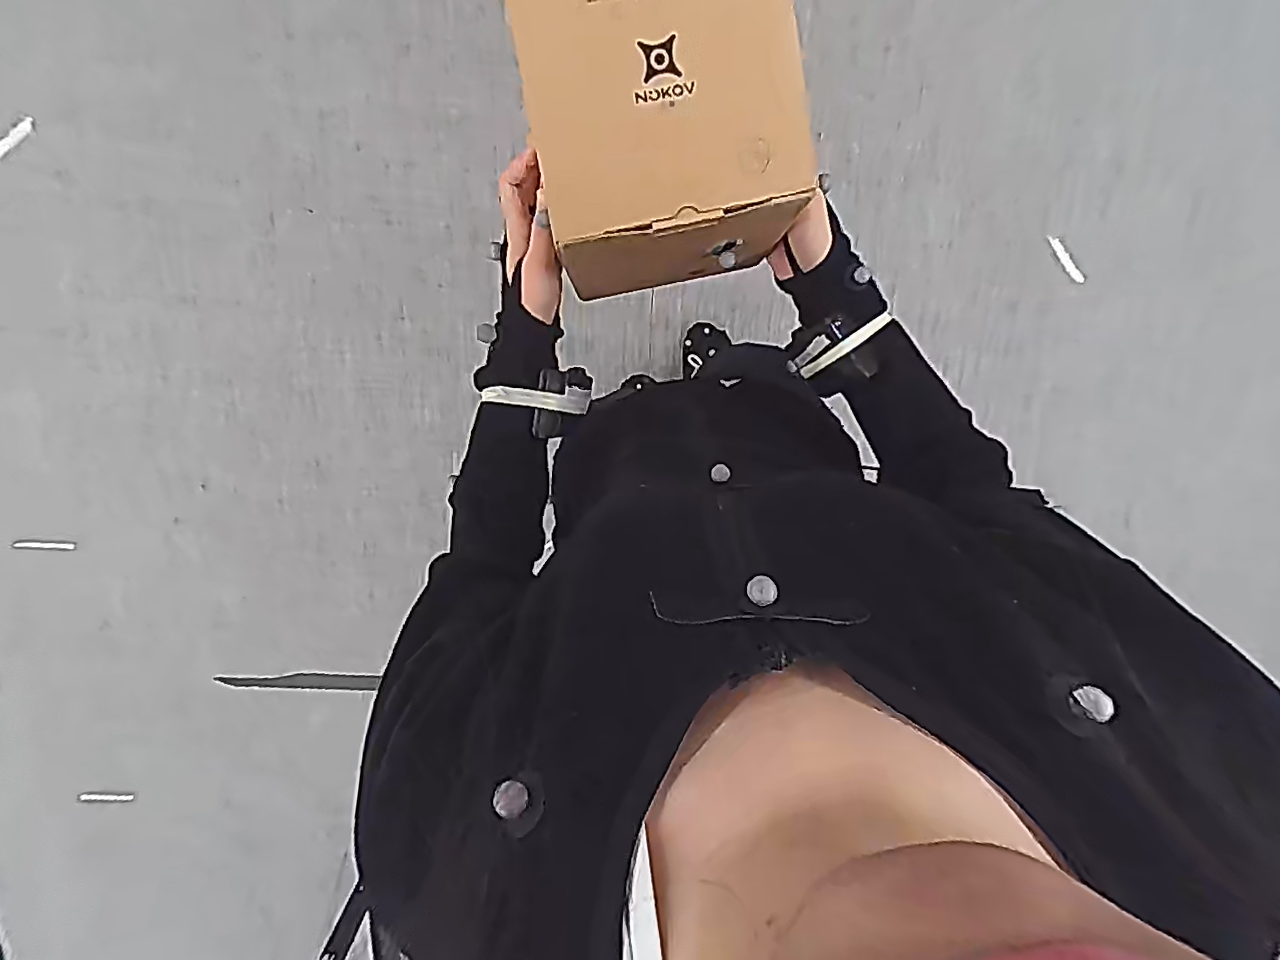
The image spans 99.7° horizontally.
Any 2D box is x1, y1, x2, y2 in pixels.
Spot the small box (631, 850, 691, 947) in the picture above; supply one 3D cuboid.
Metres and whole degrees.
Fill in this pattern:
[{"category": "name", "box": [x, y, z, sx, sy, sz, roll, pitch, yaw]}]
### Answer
[{"category": "small box", "box": [0.062, 1.303, 1.688, 0.168, 0.176, 0.179, 4, 103, -3]}]
